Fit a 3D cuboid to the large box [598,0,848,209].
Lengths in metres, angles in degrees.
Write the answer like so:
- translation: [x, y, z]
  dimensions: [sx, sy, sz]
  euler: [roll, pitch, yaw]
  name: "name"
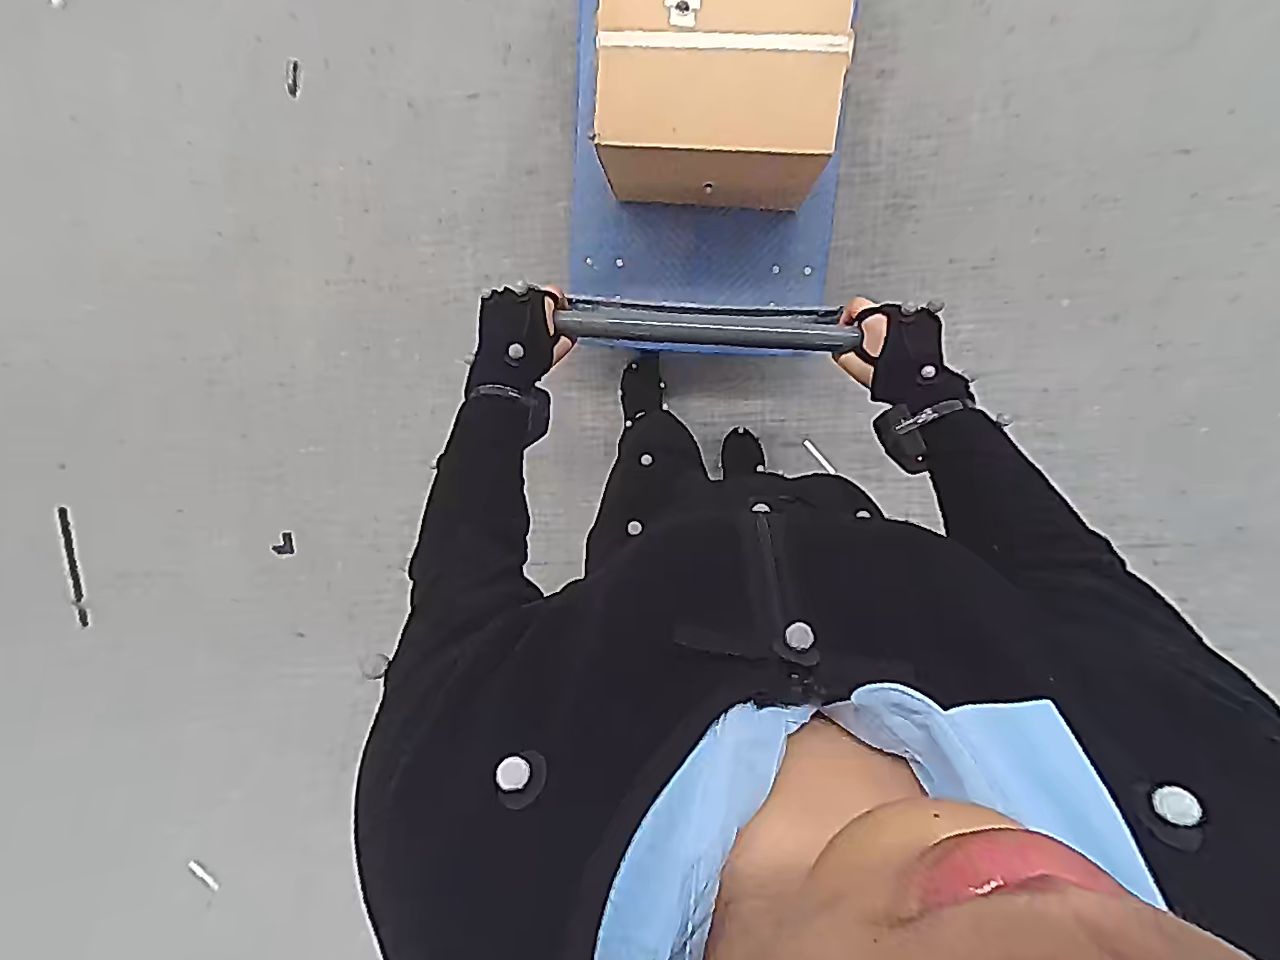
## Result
- translation: [0.149, -0.730, 1.038]
  dimensions: [0.408, 0.320, 0.320]
  euler: [5, 100, 5]
  name: "large box"
